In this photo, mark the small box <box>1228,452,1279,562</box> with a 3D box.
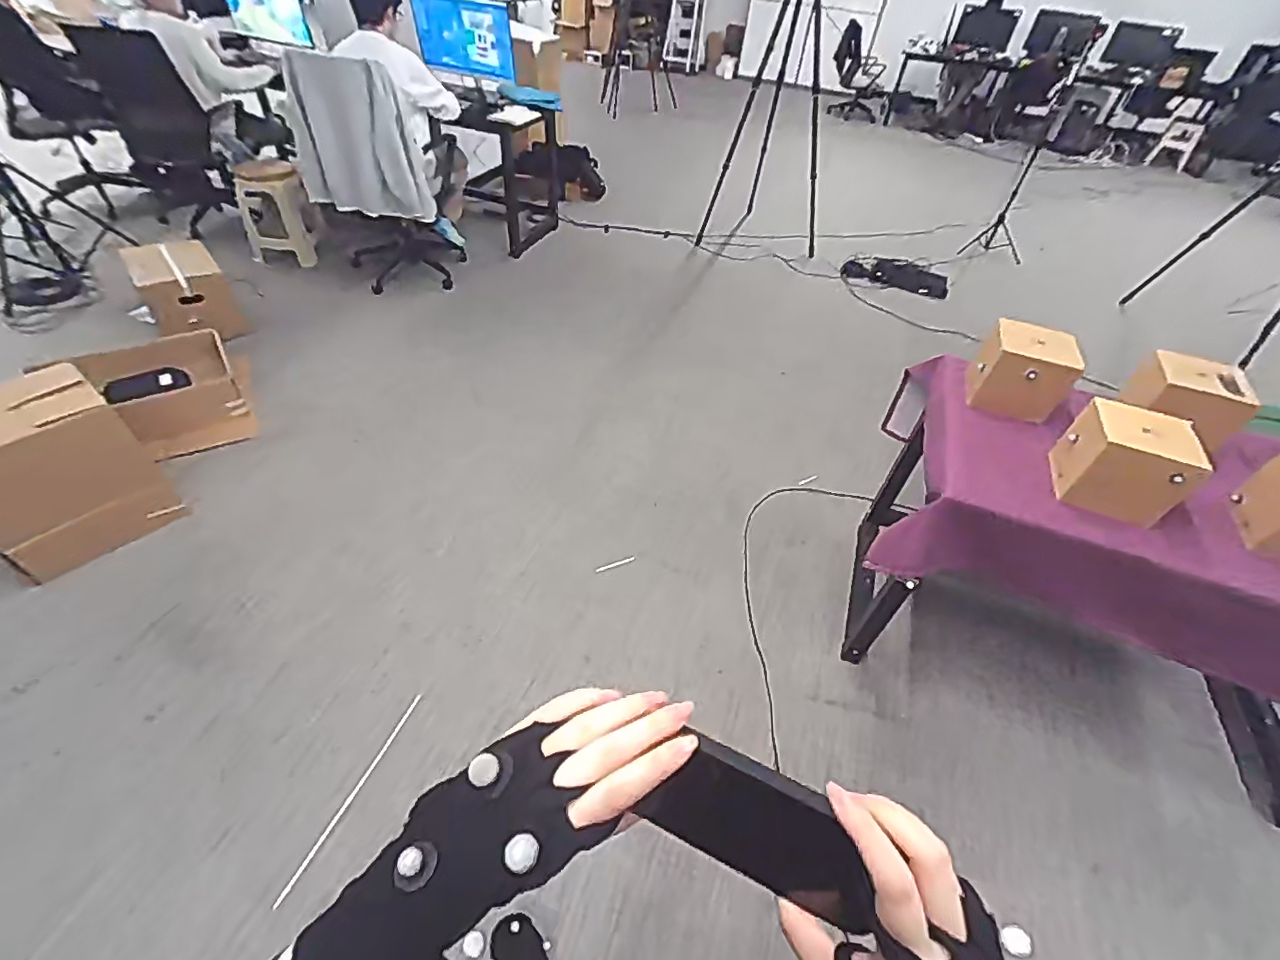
[{"bbox_3d":[1.315,0.068,1.049,0.179,0.176,0.168,22,48,14],"label":"small box"}]

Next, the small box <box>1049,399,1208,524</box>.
[{"bbox_3d":[0.984,-0.035,1.115,0.179,0.176,0.168,21,47,12],"label":"small box"}]
